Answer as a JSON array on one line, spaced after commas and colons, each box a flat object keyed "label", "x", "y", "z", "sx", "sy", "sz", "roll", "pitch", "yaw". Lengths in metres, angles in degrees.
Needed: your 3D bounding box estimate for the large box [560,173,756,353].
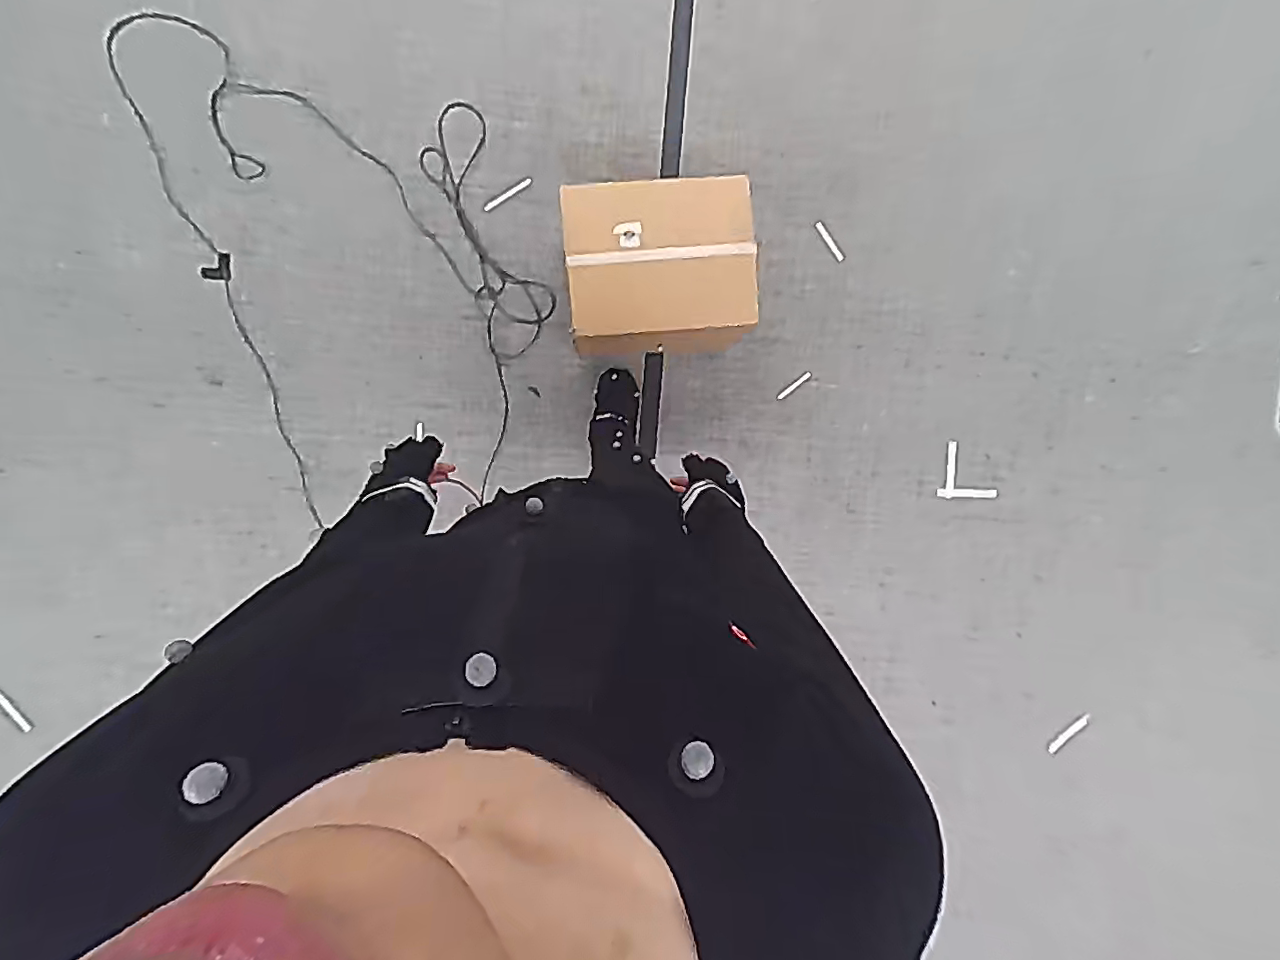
[{"label": "large box", "x": 0.036, "y": -0.494, "z": 1.299, "sx": 0.408, "sy": 0.320, "sz": 0.320, "roll": -5, "pitch": 95, "yaw": -3}]
